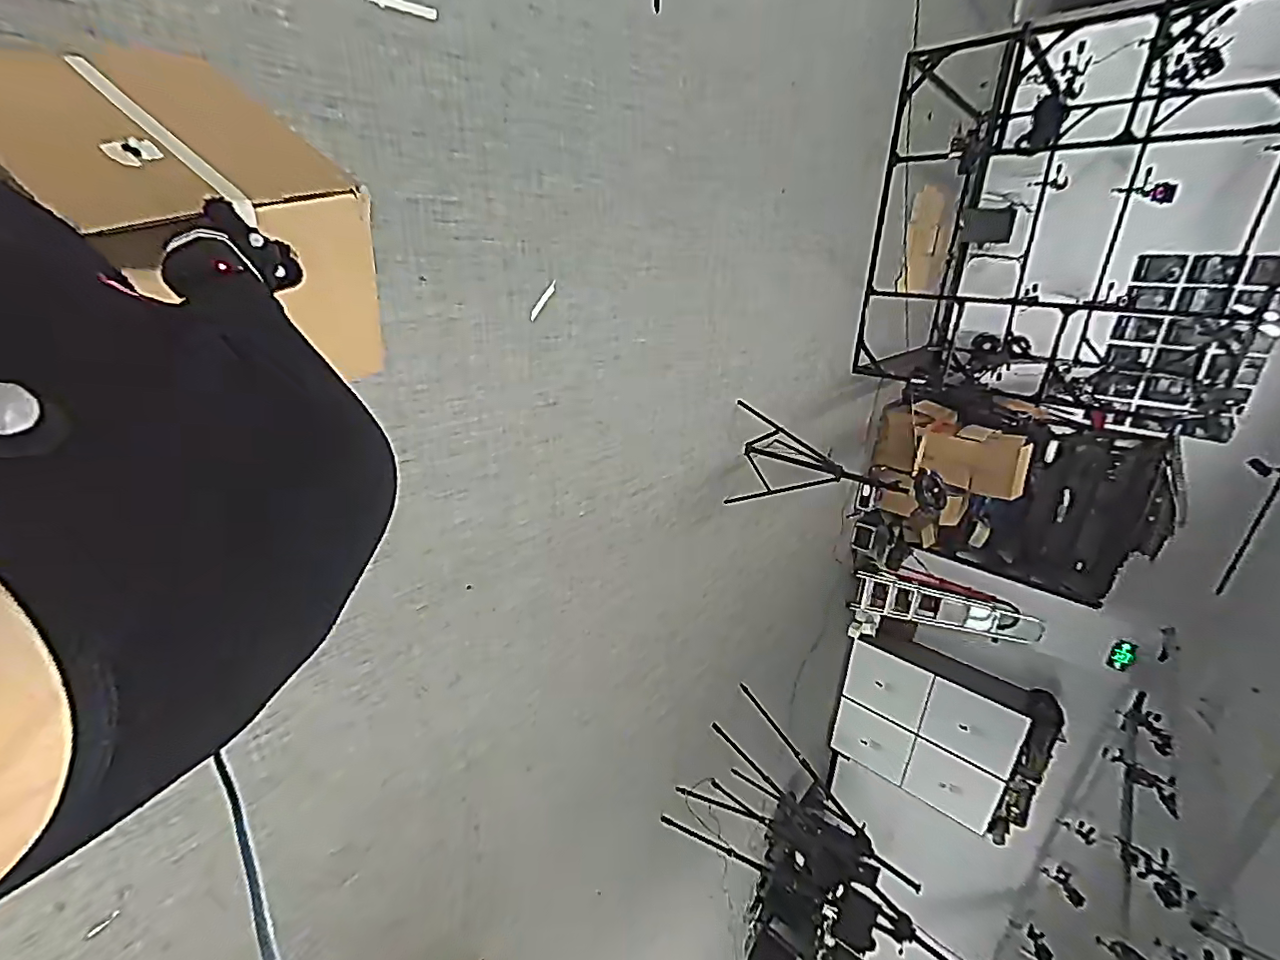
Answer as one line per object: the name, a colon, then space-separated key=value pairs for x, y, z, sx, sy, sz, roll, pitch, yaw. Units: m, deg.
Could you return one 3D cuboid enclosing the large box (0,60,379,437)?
large box: x=-0.647 y=-0.340 z=0.787 sx=0.320 sy=0.408 sz=0.320 roll=-39 pitch=162 yaw=-39
